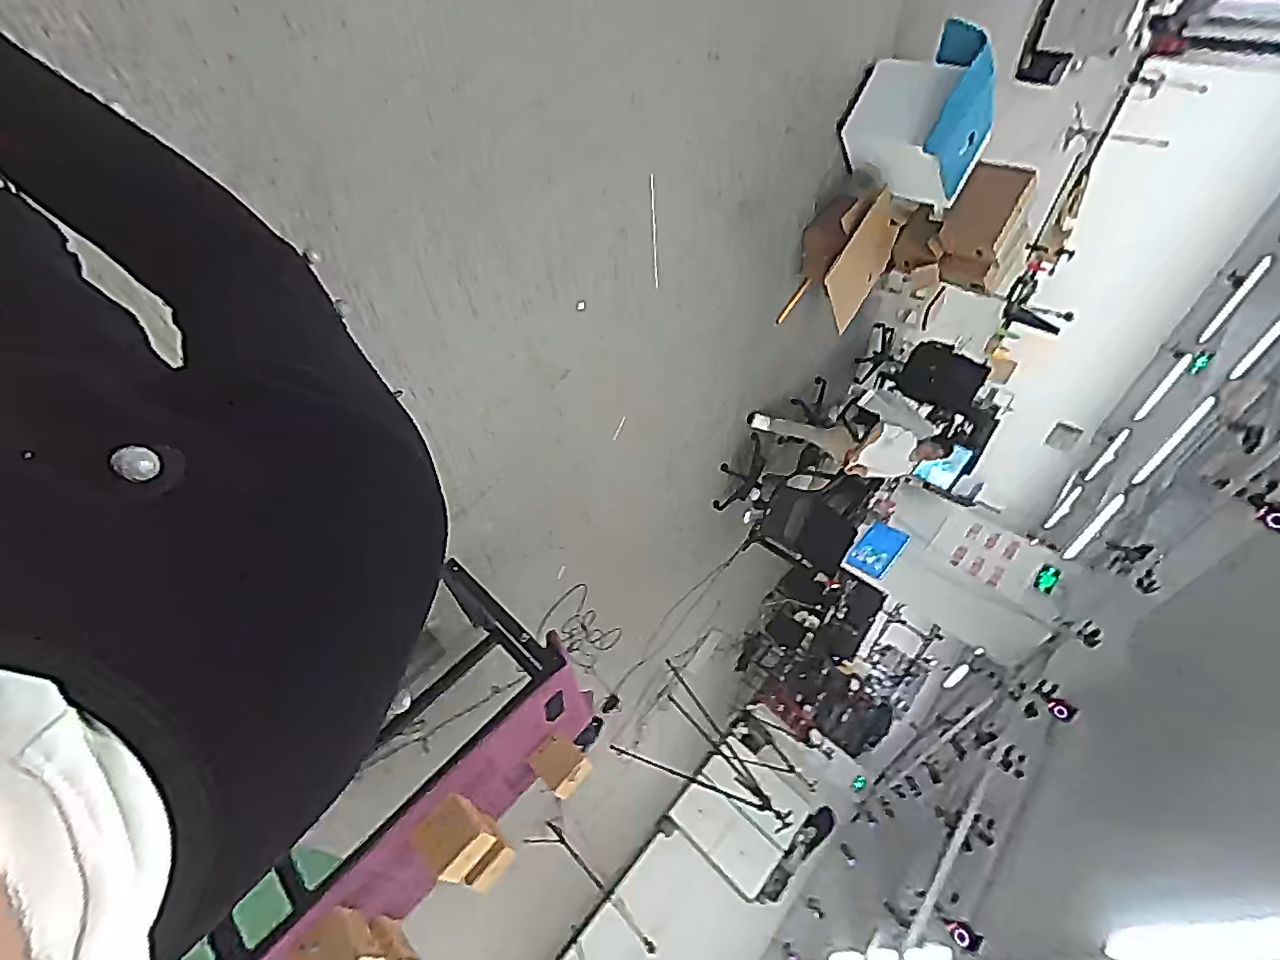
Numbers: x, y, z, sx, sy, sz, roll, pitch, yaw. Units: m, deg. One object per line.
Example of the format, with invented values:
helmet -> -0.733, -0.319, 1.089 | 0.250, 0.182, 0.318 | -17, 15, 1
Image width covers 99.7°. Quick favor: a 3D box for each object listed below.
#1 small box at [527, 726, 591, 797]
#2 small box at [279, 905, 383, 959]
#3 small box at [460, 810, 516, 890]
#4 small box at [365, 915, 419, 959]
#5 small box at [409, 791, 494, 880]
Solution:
small box -> -0.320, 1.100, 2.119 | 0.168, 0.176, 0.179 | -42, 148, -24
small box -> -0.870, 1.352, 1.528 | 0.168, 0.176, 0.179 | -40, 147, -30
small box -> -0.582, 1.343, 1.966 | 0.168, 0.176, 0.179 | -42, 147, -27
small box -> -0.860, 1.567, 1.762 | 0.168, 0.176, 0.179 | -40, 147, -30
small box -> -0.601, 1.132, 1.728 | 0.168, 0.176, 0.179 | -41, 148, -25
